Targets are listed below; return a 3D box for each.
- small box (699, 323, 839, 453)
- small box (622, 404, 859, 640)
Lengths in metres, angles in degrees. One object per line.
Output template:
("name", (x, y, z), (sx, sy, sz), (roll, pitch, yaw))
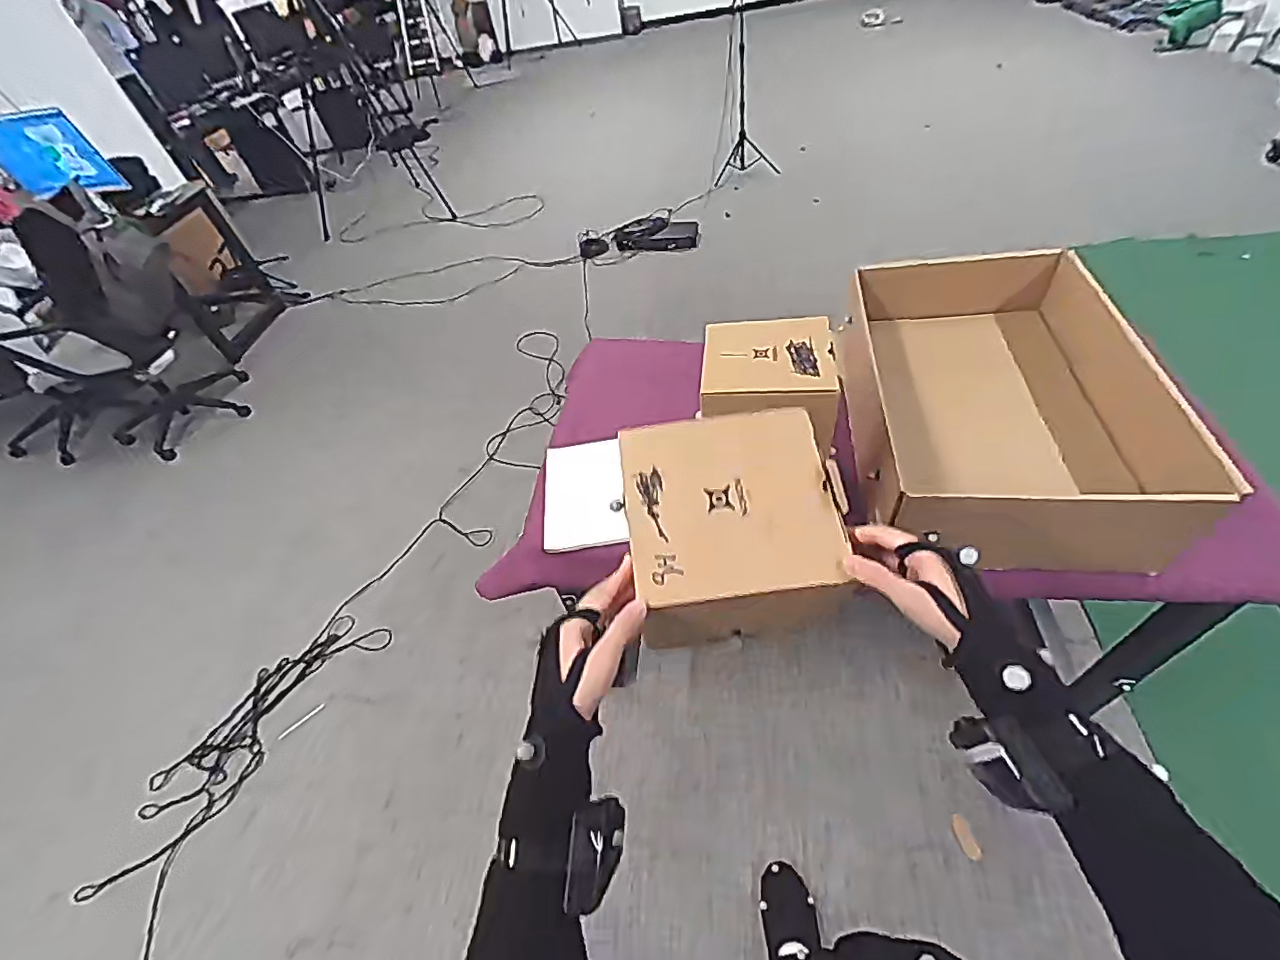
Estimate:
("small box", (0.184, -0.110, 0.793), (0.179, 0.176, 0.168), (1, 47, 12))
("small box", (0.078, 0.048, 0.518), (0.179, 0.176, 0.168), (-6, 61, -1))
